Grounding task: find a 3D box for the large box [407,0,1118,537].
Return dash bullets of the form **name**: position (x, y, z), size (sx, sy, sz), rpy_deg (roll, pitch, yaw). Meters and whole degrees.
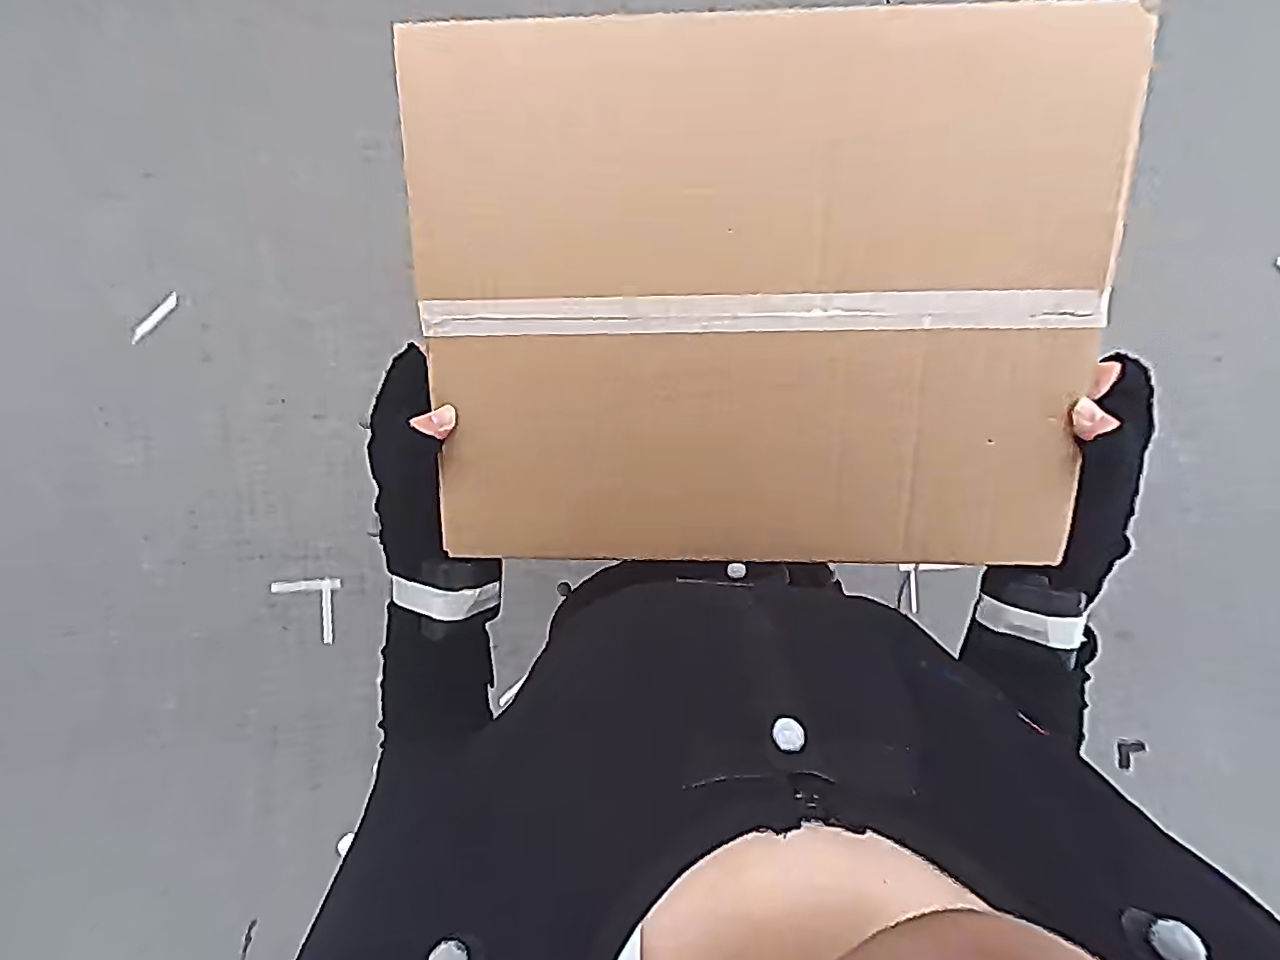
- **large box**: position (0.070, -0.145, 0.479), size (0.408, 0.320, 0.320), rpy_deg (0, 104, 2)
